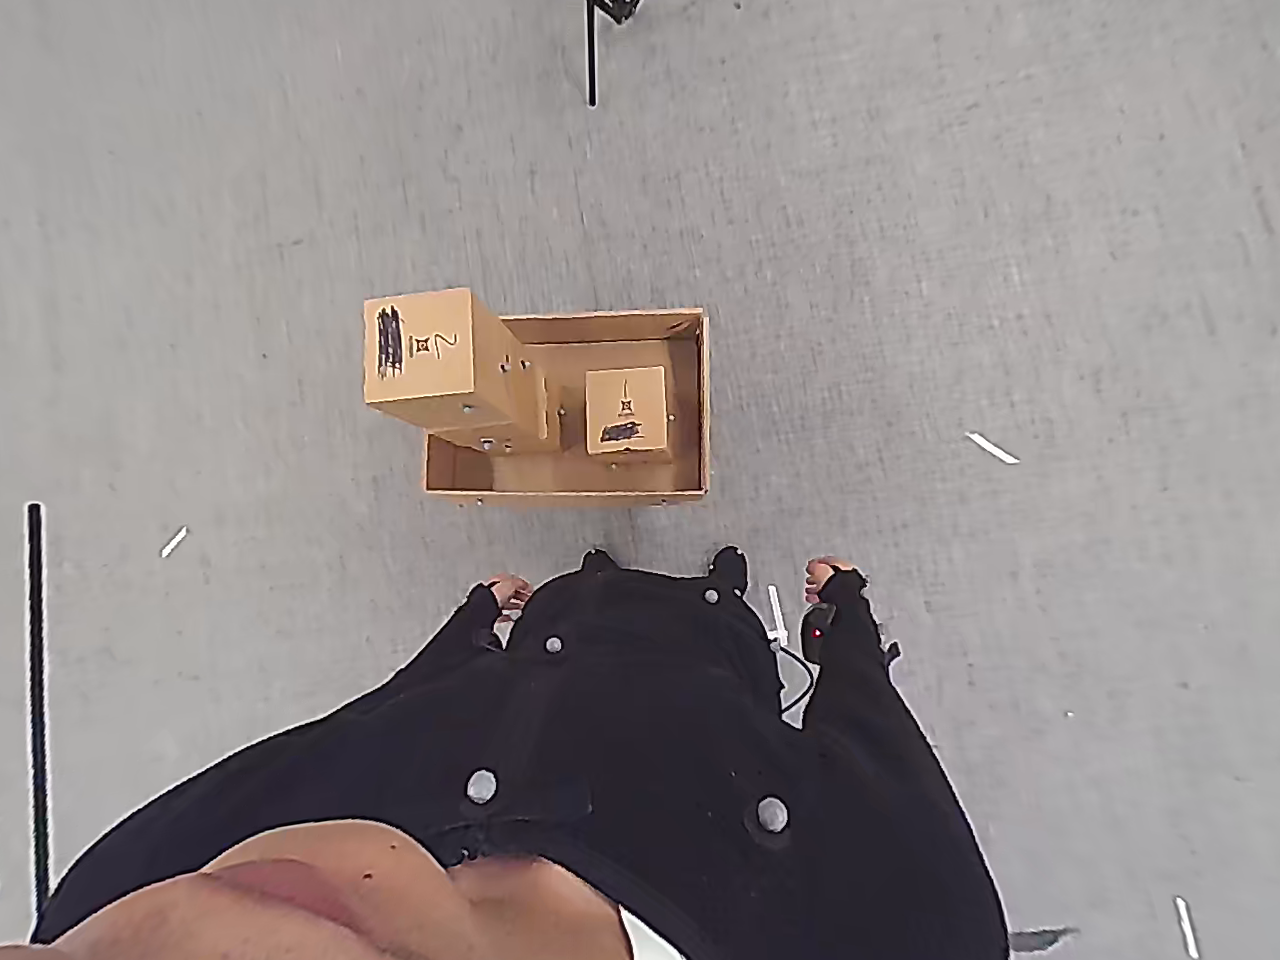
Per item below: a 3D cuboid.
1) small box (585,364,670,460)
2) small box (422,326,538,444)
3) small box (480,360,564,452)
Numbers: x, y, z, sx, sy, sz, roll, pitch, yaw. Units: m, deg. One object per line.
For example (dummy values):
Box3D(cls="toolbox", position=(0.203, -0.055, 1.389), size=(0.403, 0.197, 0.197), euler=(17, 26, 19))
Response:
Box3D(cls="small box", position=(-0.022, -0.140, 1.180), size=(0.168, 0.176, 0.179), euler=(-3, 83, 6))
Box3D(cls="small box", position=(-0.302, -0.176, 1.047), size=(0.168, 0.176, 0.179), euler=(-6, 83, 6))
Box3D(cls="small box", position=(-0.276, -0.158, 1.207), size=(0.179, 0.176, 0.168), euler=(-3, 84, 5))
